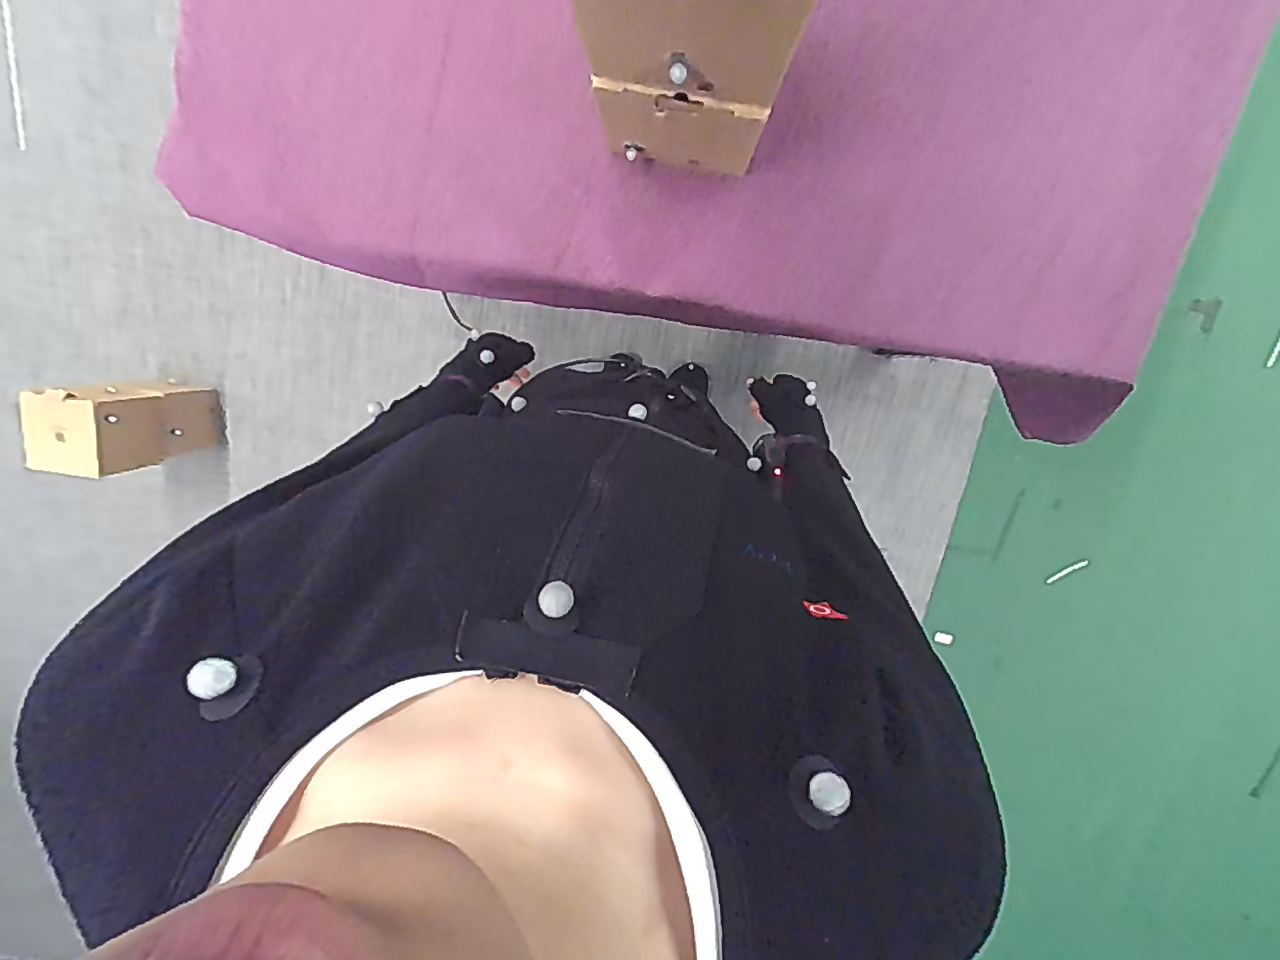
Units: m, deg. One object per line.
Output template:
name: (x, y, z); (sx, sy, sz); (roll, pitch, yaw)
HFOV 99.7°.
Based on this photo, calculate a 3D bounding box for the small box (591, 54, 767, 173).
small box: (0.055, -0.442, 0.552); (0.168, 0.176, 0.179); (11, 103, 0)

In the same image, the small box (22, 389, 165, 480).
small box: (-1.261, -0.112, 1.262); (0.168, 0.176, 0.179); (8, 103, 0)

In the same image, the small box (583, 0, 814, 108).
small box: (0.048, -0.414, 0.390); (0.168, 0.176, 0.179); (11, 103, 0)

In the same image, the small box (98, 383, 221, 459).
small box: (-1.250, -0.160, 1.418); (0.179, 0.176, 0.168); (8, 103, 1)
